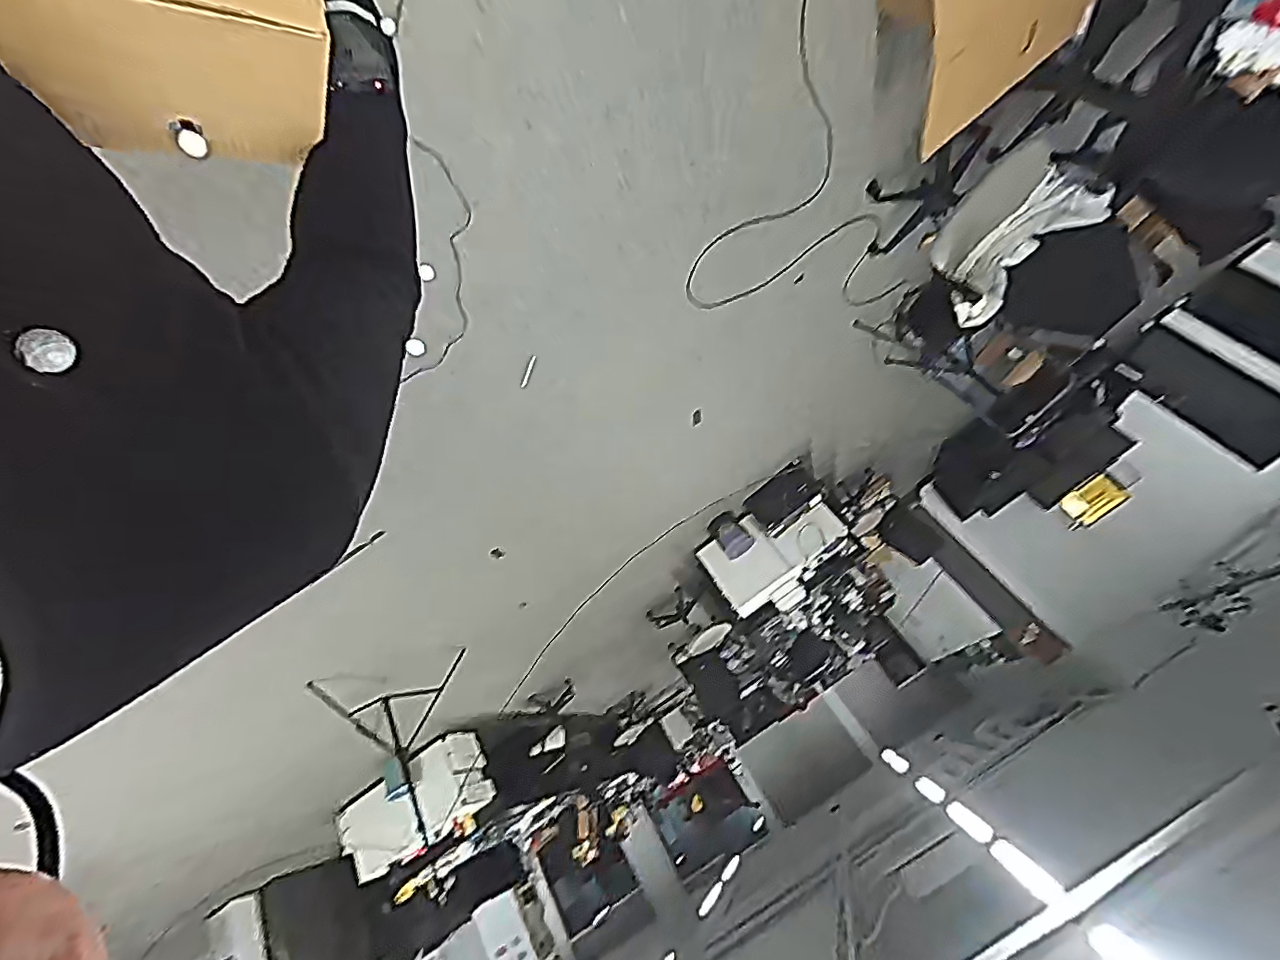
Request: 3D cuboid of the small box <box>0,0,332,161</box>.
[{"bbox_3d":[-0.322,-0.337,0.355,0.179,0.168,0.176,-14,-172,-31],"label":"small box"}]
